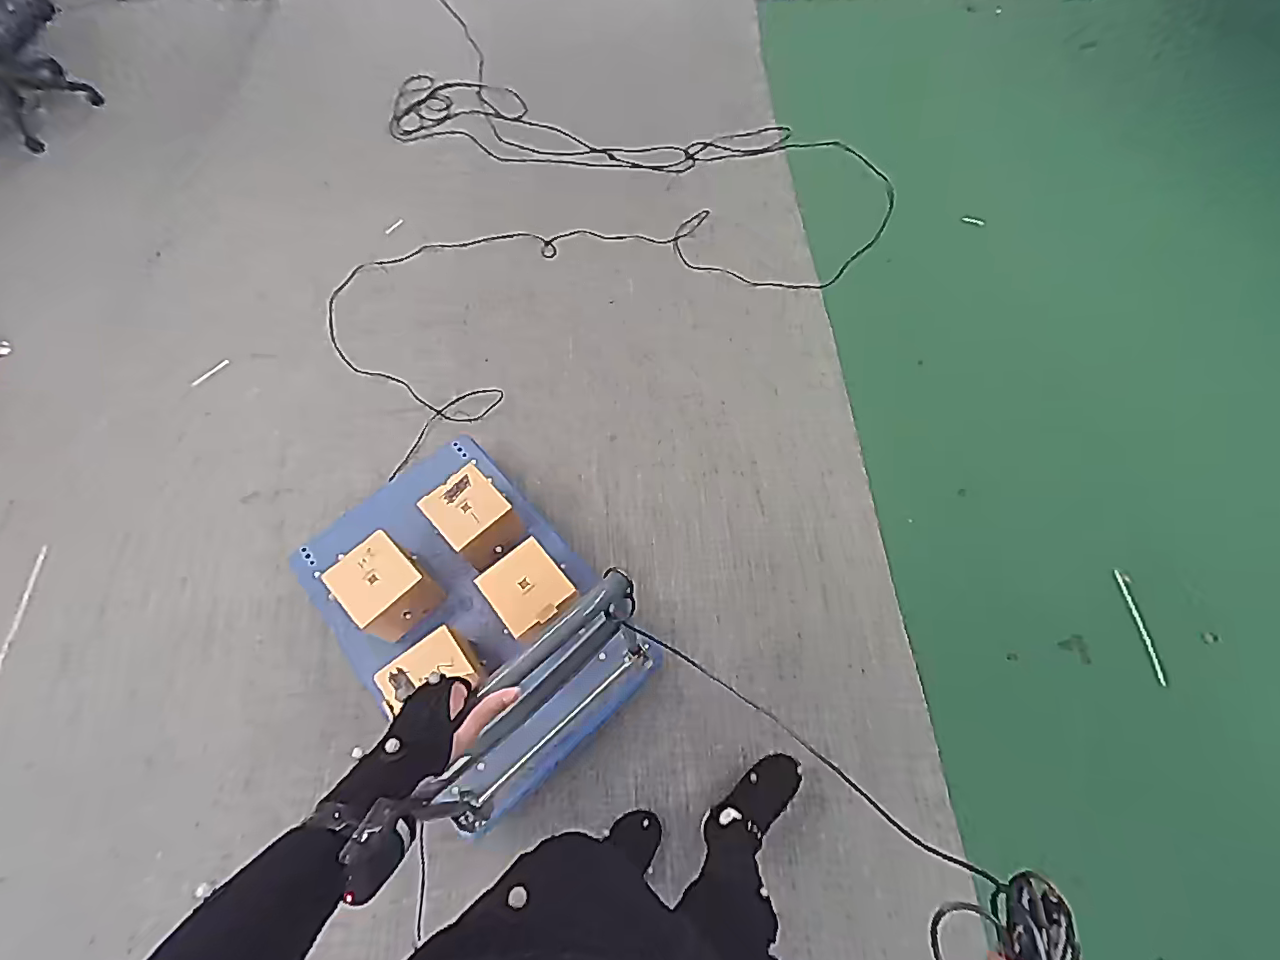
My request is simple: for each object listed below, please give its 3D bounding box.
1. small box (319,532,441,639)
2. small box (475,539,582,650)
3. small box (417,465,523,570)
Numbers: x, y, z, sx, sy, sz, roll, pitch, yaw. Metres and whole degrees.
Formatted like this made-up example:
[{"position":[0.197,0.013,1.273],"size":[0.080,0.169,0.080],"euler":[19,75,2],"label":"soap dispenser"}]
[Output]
[{"position":[-0.608,0.260,1.290],"size":[0.179,0.176,0.168],"euler":[41,70,19],"label":"small box"},{"position":[-0.256,0.275,1.274],"size":[0.168,0.176,0.179],"euler":[-38,69,-16],"label":"small box"},{"position":[-0.422,0.100,1.365],"size":[0.168,0.176,0.179],"euler":[-41,70,-16],"label":"small box"}]
